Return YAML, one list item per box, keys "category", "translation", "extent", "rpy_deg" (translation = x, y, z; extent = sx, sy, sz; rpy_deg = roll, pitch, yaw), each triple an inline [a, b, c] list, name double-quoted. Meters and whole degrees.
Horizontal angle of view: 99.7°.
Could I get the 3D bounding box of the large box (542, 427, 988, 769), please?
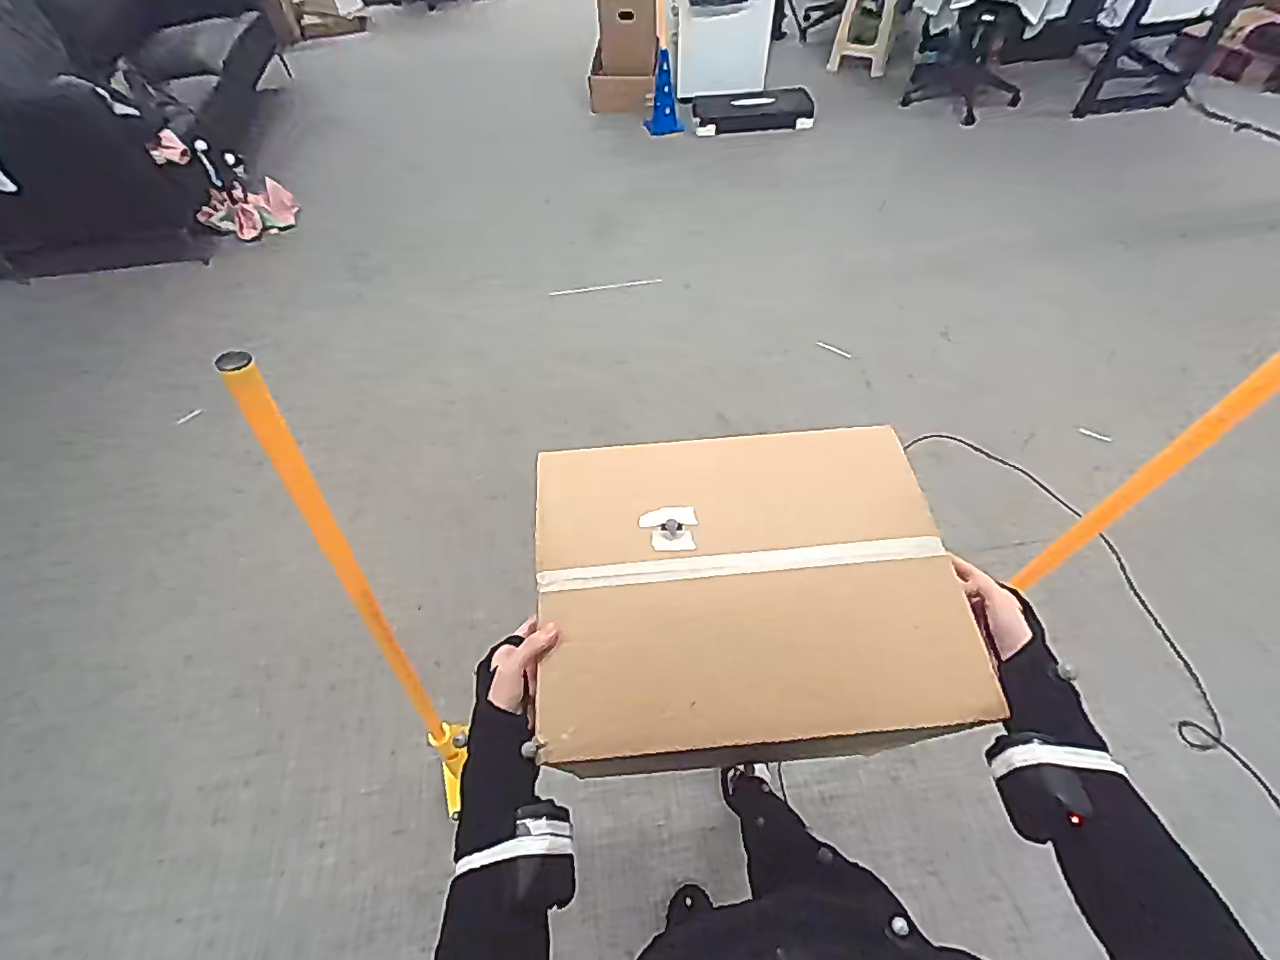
- category: "large box"
  translation: [0.107, 0.164, 0.678]
  extent: [0.408, 0.320, 0.320]
  rpy_deg: [-6, 58, -1]
